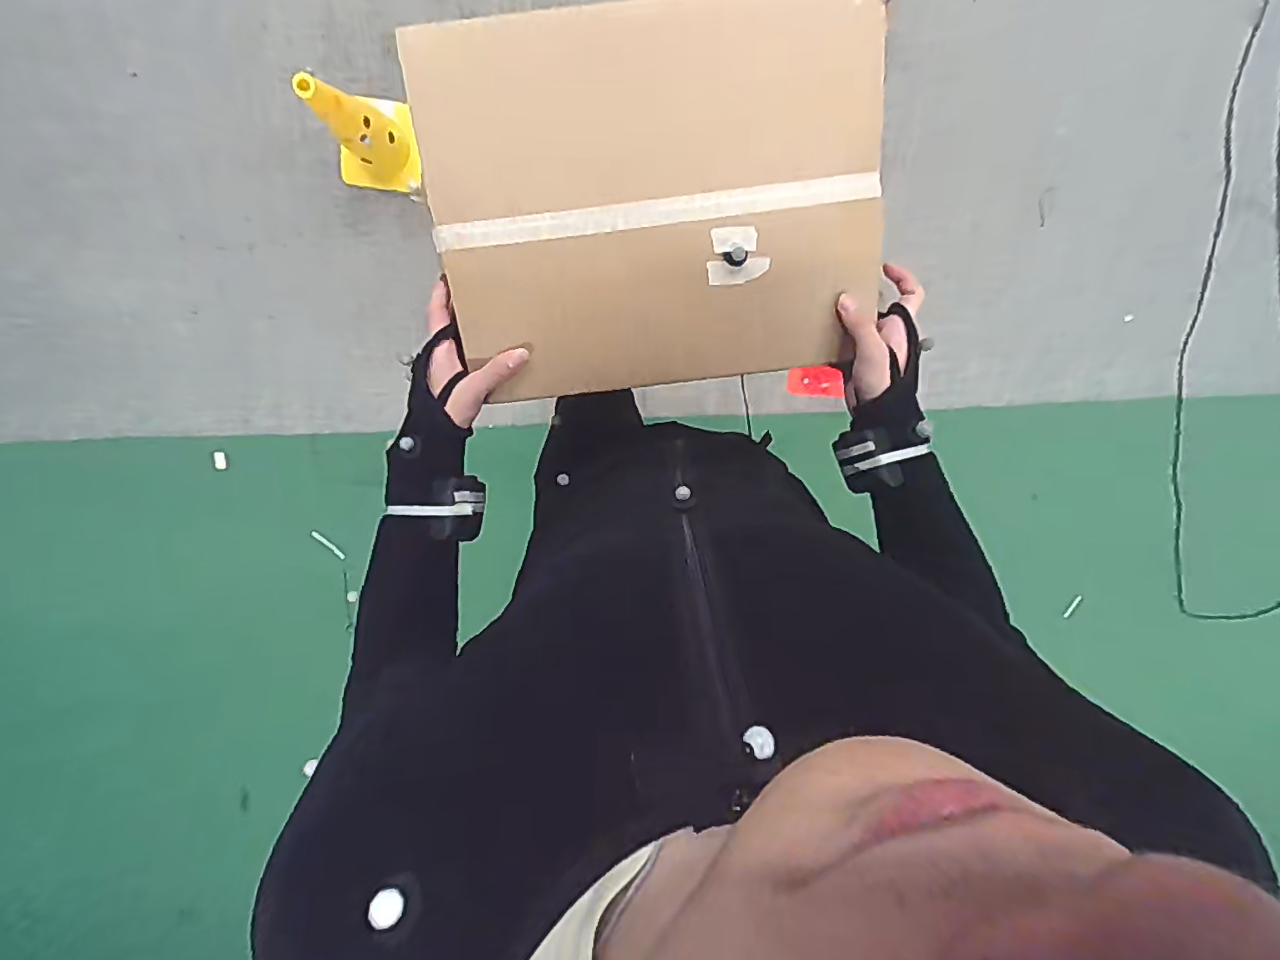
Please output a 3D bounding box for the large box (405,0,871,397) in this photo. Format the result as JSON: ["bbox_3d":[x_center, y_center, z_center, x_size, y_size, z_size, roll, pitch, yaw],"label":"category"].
[{"bbox_3d":[0.007,-0.300,0.641,0.408,0.320,0.320,-7,110,-1],"label":"large box"}]

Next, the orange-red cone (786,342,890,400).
[{"bbox_3d":[0.535,-0.285,1.380,0.199,0.360,0.198,4,106,-5],"label":"orange-red cone"}]
